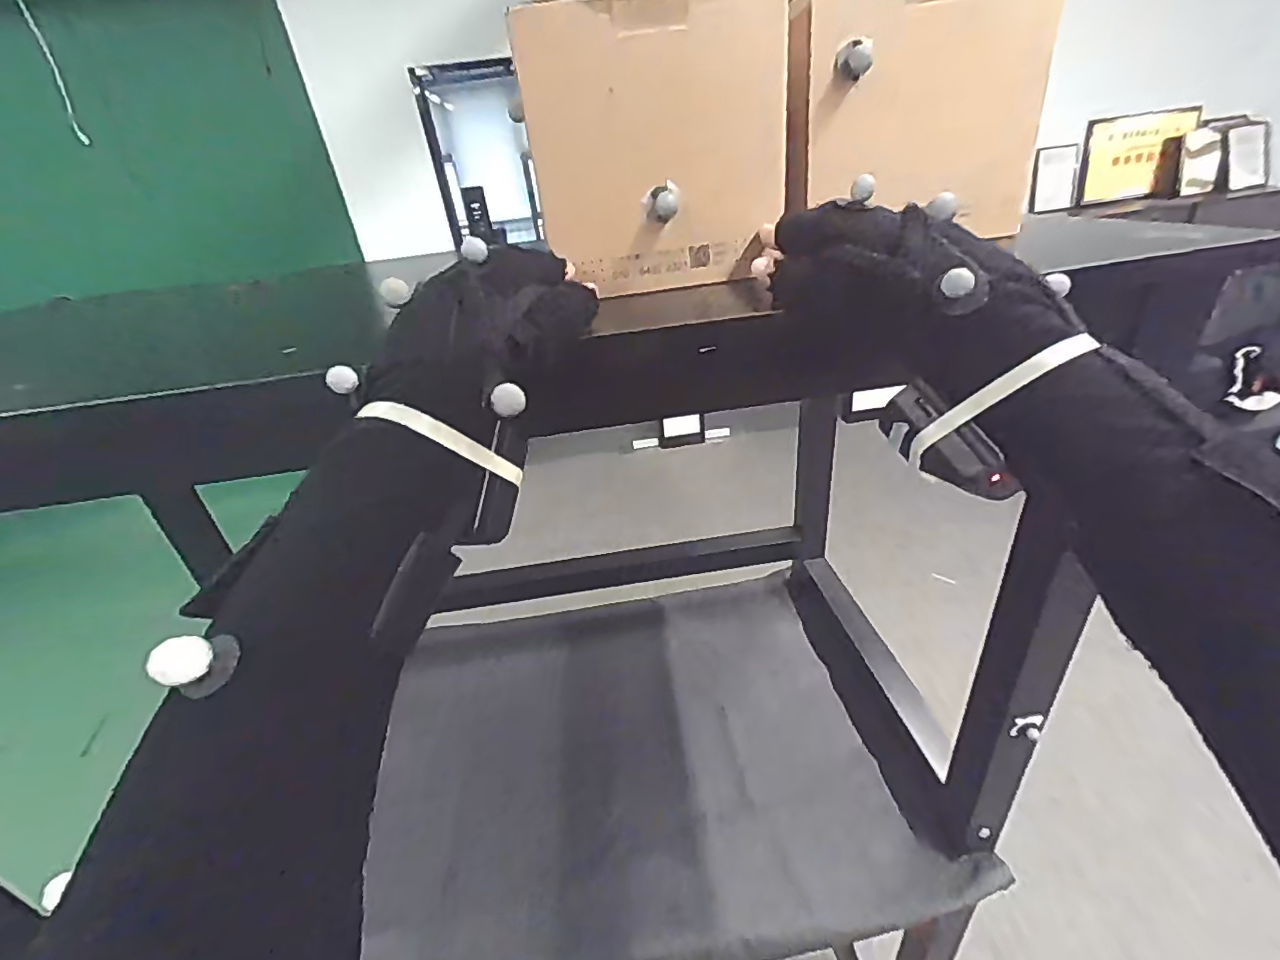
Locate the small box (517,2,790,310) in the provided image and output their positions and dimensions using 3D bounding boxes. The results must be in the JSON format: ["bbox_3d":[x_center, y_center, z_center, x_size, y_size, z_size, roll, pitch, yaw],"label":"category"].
[{"bbox_3d":[0.008,-0.241,0.429,0.168,0.176,0.179,-9,30,-2],"label":"small box"}]
